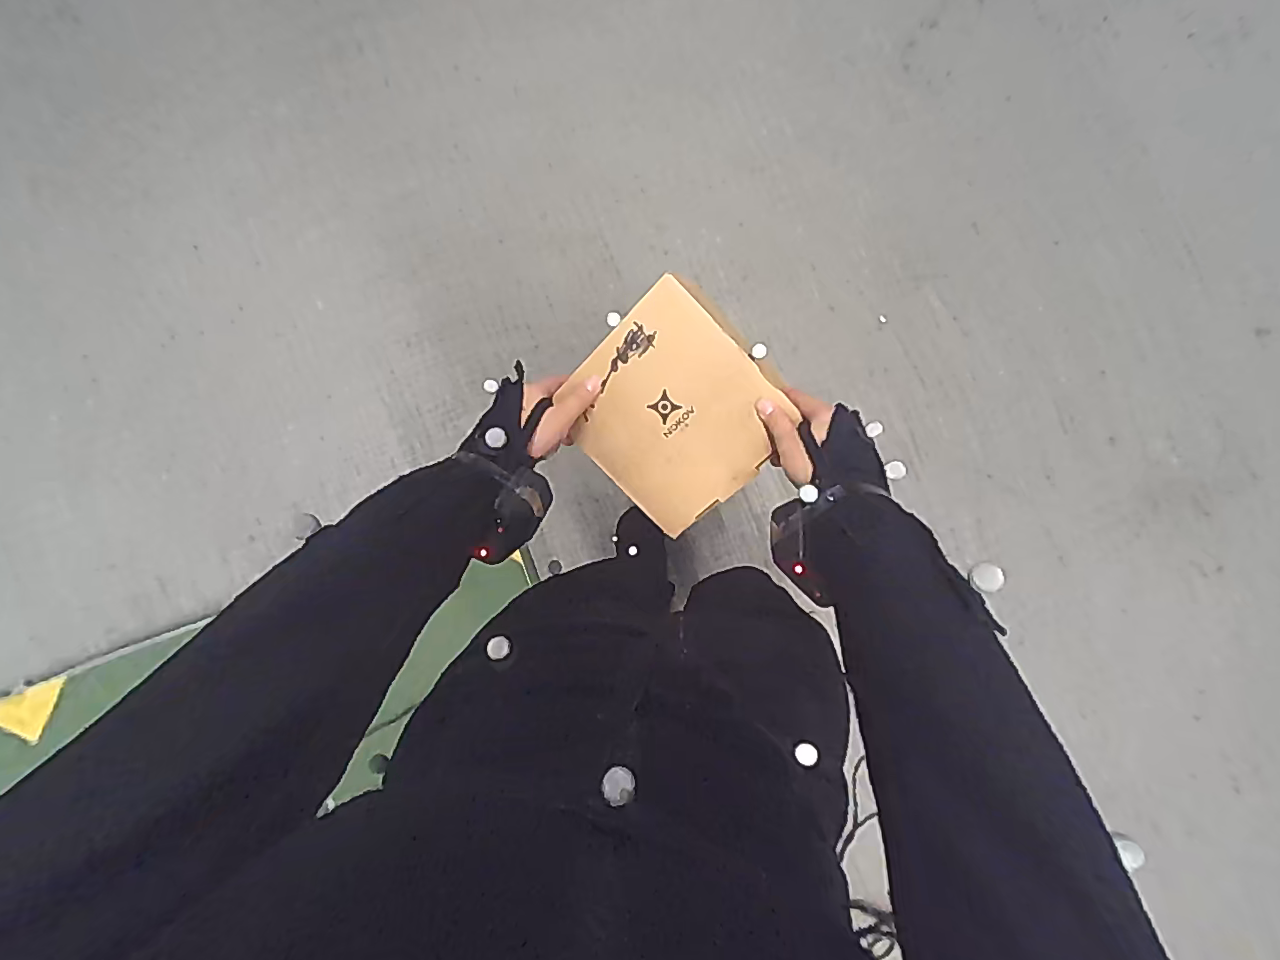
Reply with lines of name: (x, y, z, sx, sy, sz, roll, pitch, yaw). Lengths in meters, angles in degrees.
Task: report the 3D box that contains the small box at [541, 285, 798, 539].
small box: (0.037, -0.077, 0.556, 0.179, 0.176, 0.168, 45, 109, -5)
